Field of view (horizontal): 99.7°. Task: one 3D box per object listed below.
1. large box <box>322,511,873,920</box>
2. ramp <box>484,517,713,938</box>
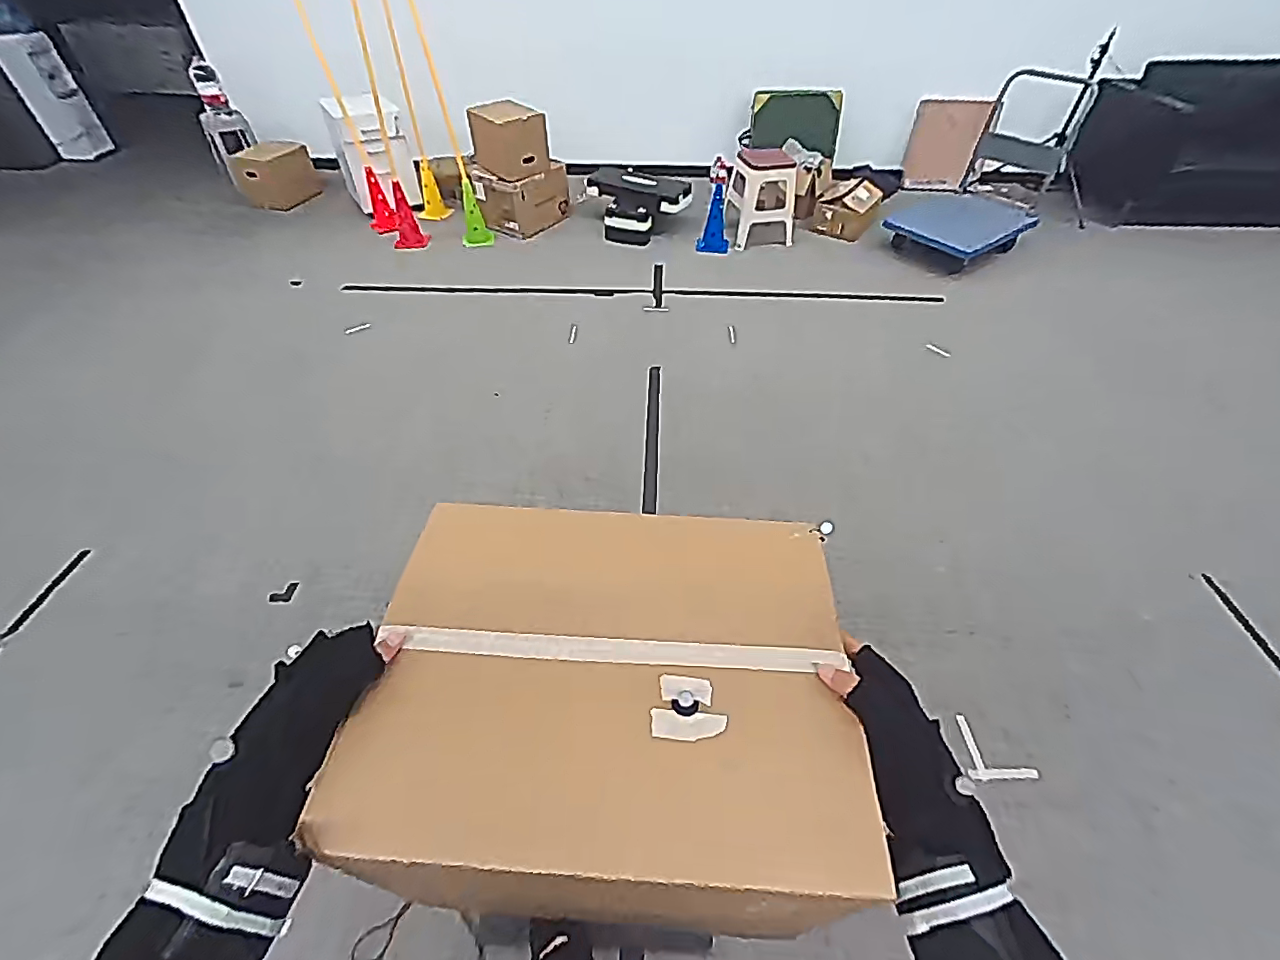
[{"bbox_3d":[-0.028,0.256,0.591,0.408,0.320,0.320,3,46,2],"label":"large box"},{"bbox_3d":[-0.075,0.541,1.407,0.509,0.206,0.991,1,47,-1],"label":"ramp"}]
